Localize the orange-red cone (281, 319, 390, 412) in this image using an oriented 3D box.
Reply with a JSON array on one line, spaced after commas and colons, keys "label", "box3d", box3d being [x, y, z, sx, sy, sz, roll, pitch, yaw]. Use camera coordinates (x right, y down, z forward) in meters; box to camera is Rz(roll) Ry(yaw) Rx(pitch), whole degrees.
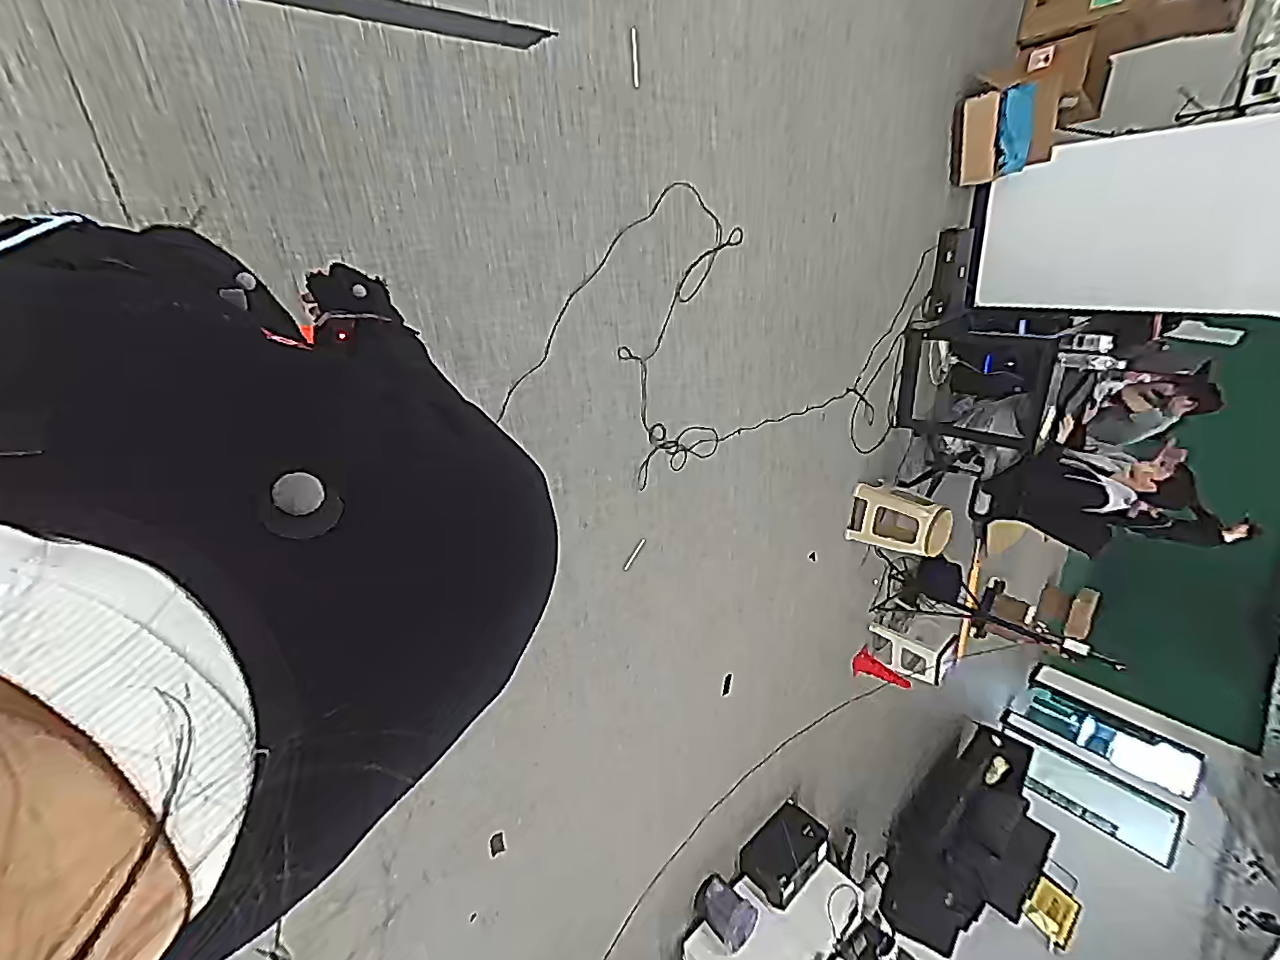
[{"label": "orange-red cone", "box3d": [-0.602, -0.228, 1.146, 0.199, 0.360, 0.198, -21, 118, -33]}]
